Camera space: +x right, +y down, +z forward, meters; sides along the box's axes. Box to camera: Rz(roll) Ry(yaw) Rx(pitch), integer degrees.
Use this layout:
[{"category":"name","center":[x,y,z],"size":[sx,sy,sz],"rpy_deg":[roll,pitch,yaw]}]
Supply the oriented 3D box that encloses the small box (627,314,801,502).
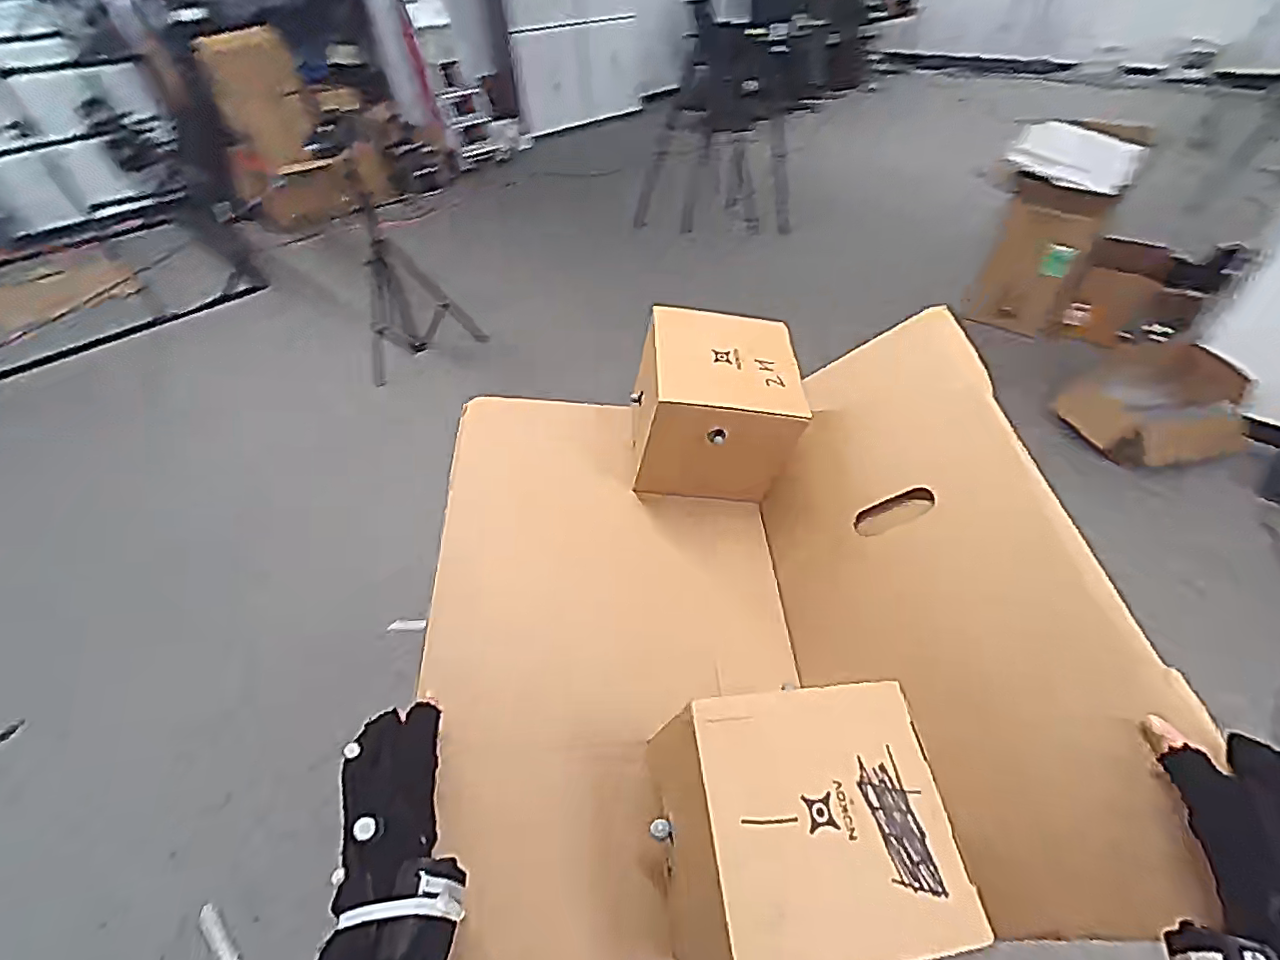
[{"category":"small box","center":[0.079,-0.085,0.694],"size":[0.179,0.176,0.168],"rpy_deg":[5,53,-9]}]
